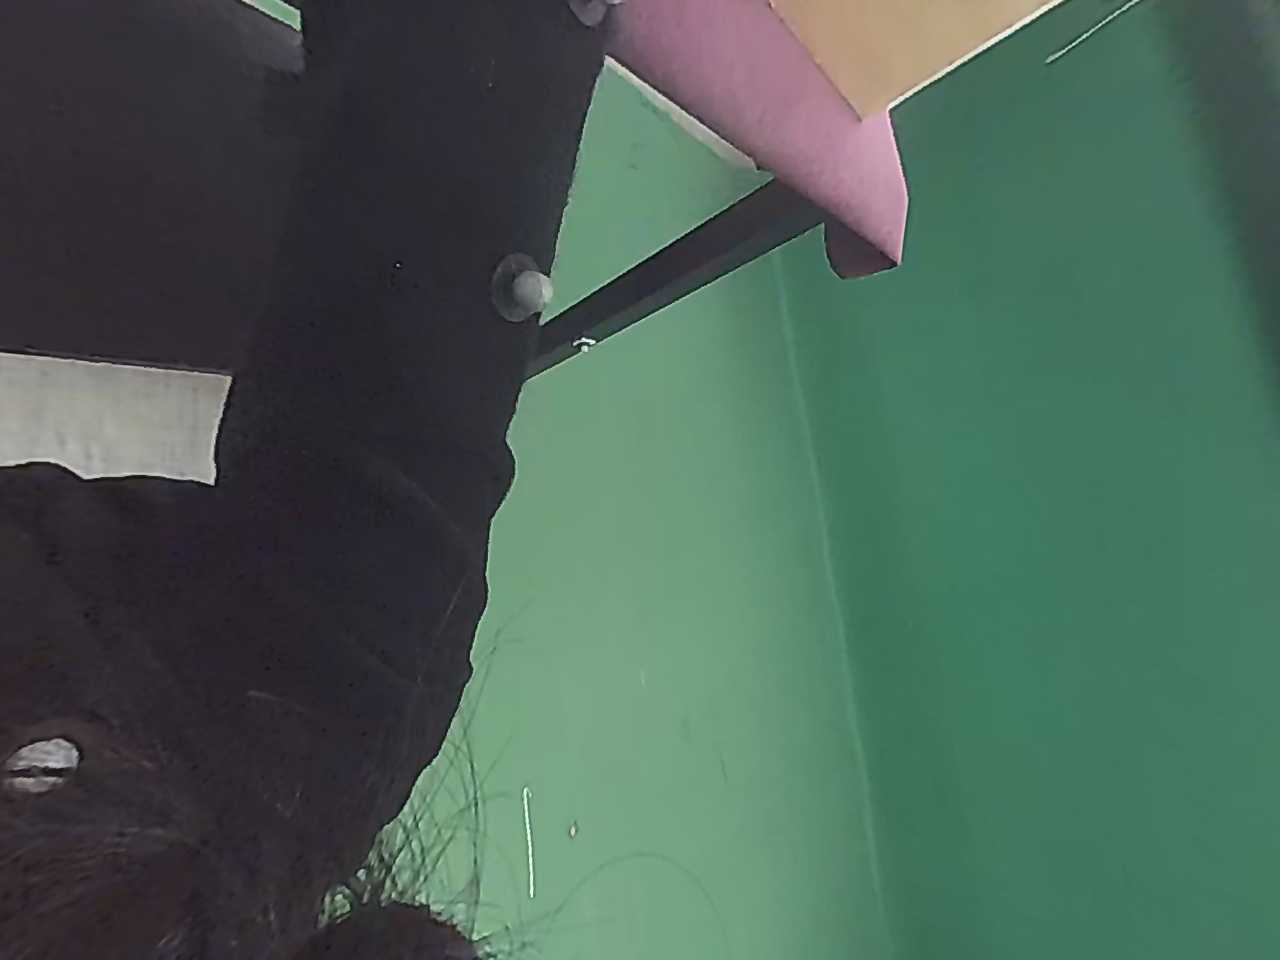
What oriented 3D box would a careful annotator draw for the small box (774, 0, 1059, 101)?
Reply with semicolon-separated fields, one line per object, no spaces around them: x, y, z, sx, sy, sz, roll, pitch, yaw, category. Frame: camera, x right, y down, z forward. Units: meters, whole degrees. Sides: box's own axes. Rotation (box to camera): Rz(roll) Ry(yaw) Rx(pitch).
0.191;-0.417;0.378;0.179;0.176;0.168;-1;81;-47;small box
